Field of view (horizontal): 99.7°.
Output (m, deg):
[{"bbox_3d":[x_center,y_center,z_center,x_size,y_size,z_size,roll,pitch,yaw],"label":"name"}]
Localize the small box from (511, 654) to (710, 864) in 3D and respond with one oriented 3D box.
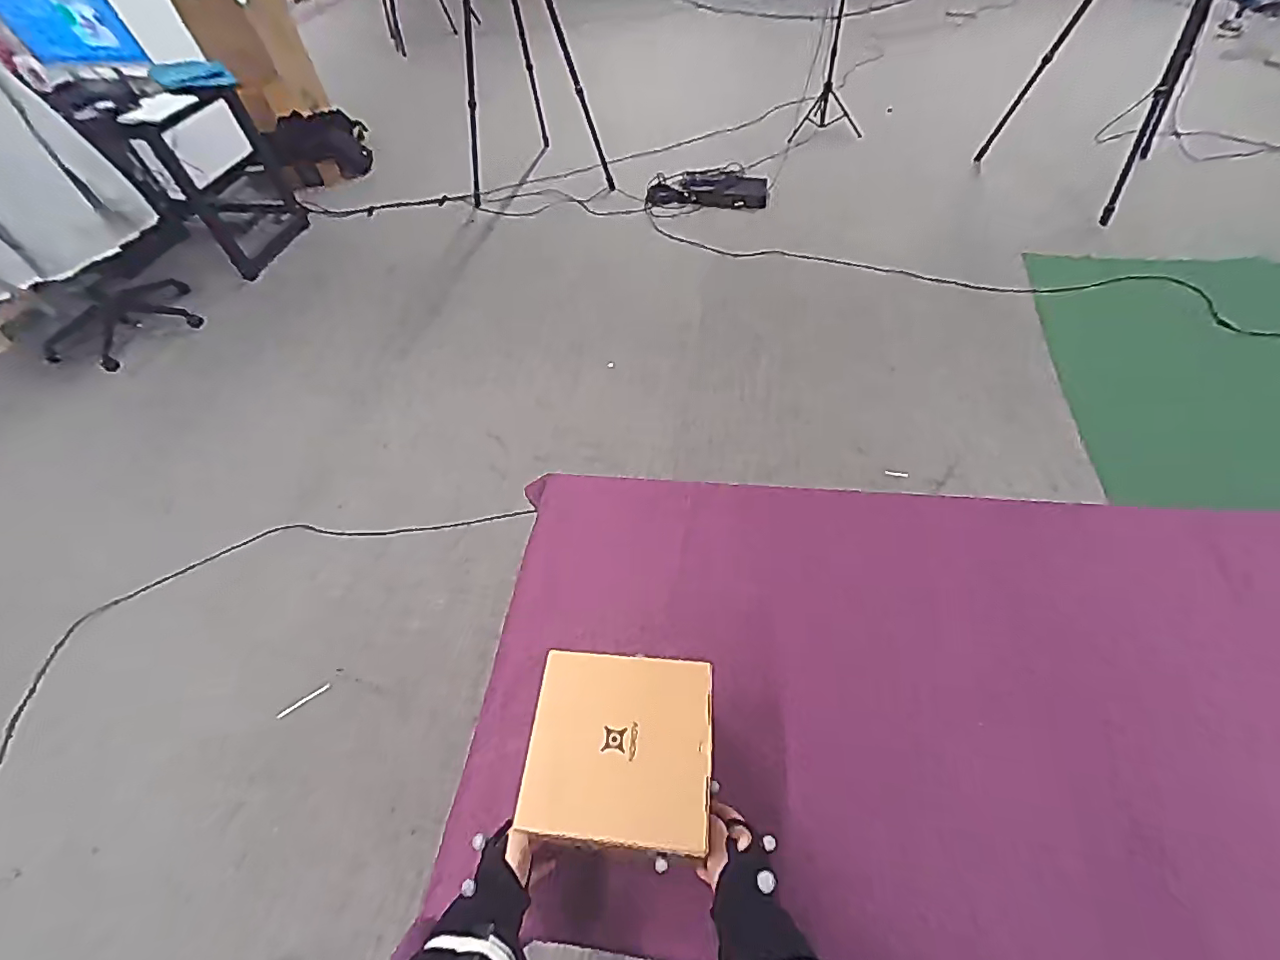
[{"bbox_3d":[-0.016,0.303,0.583,0.179,0.176,0.168,2,52,7],"label":"small box"}]
